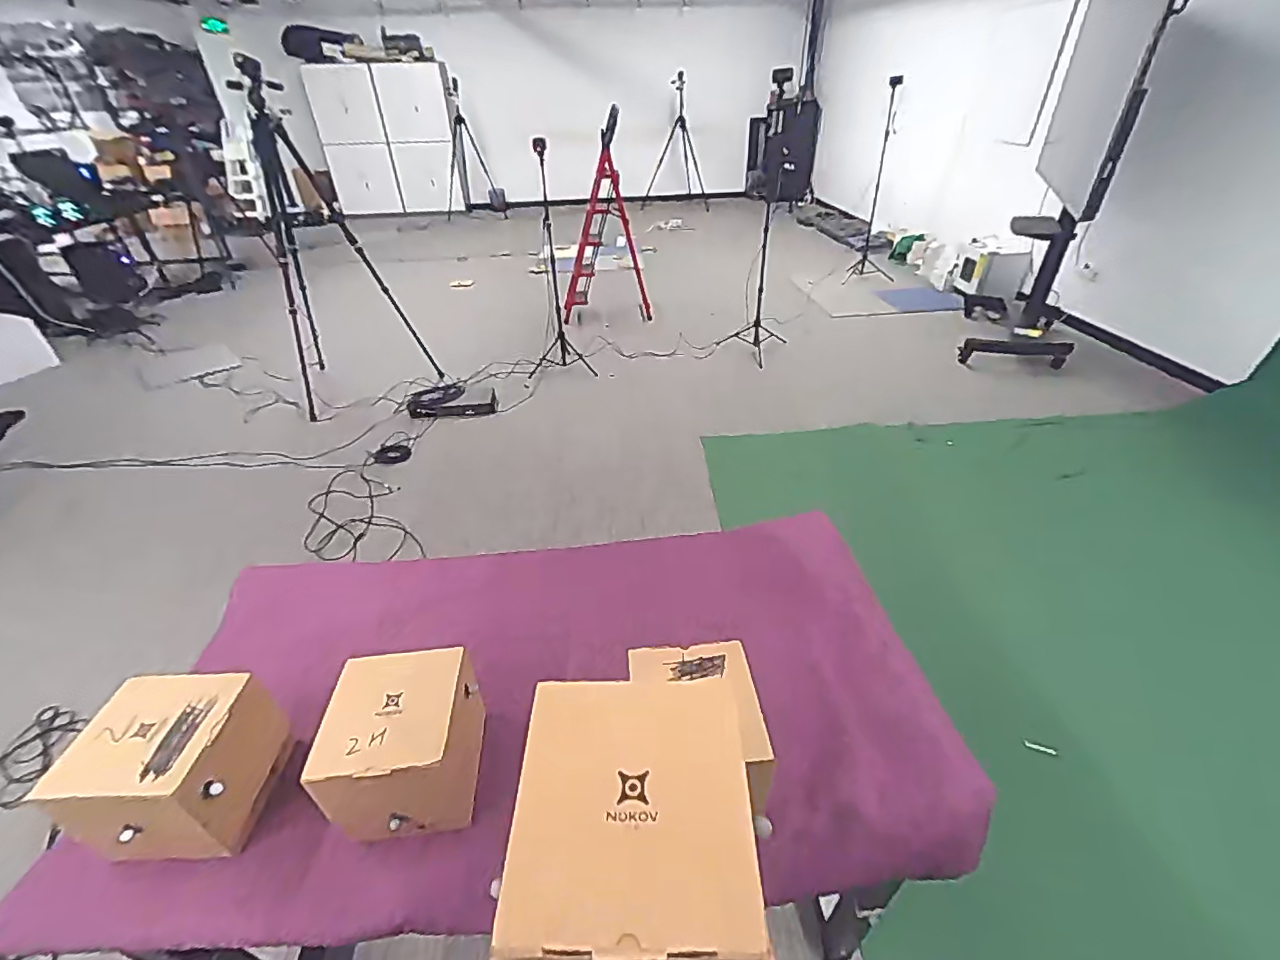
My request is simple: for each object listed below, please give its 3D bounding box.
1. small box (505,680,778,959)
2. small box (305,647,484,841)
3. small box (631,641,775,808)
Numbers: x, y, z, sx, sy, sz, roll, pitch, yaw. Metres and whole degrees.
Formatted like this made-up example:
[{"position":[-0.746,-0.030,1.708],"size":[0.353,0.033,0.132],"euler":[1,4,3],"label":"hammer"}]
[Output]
[{"position":[0.003,0.284,0.432],"size":[0.168,0.176,0.179],"euler":[-1,40,2],"label":"small box"},{"position":[-0.320,0.362,0.751],"size":[0.168,0.176,0.179],"euler":[-5,35,-4],"label":"small box"},{"position":[0.075,0.352,0.753],"size":[0.168,0.176,0.179],"euler":[-5,36,-3],"label":"small box"}]
